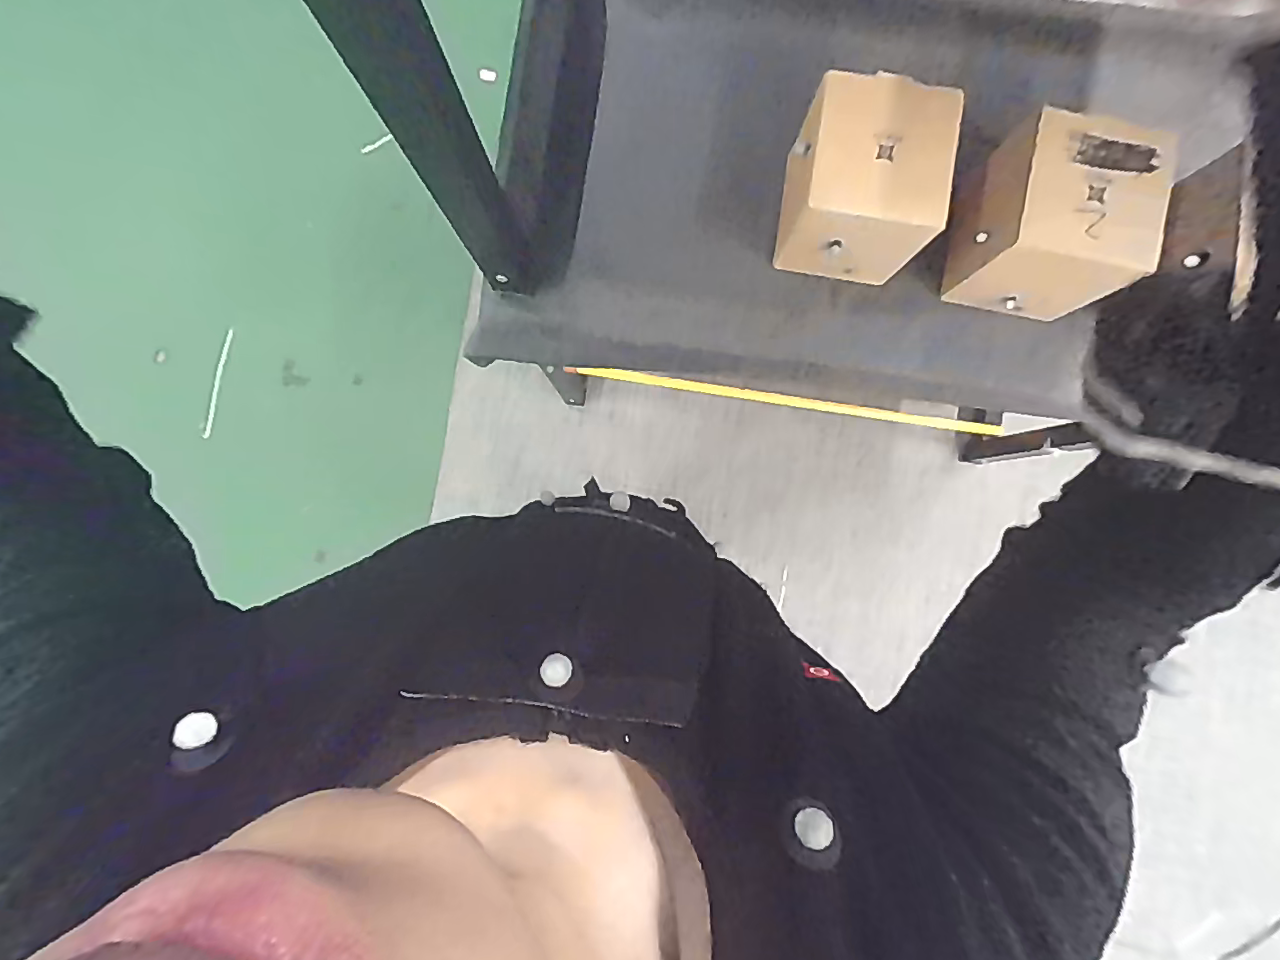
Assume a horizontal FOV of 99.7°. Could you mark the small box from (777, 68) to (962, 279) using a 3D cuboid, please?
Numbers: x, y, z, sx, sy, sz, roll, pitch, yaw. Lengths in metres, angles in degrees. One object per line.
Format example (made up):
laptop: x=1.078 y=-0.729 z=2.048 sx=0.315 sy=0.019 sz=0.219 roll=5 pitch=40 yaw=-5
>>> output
small box: x=0.290 y=-0.390 z=0.719 sx=0.168 sy=0.176 sz=0.179 roll=9 pitch=86 yaw=0

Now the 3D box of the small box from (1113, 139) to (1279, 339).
small box: x=0.775 y=-0.300 z=0.710 sx=0.168 sy=0.176 sz=0.179 roll=8 pitch=86 yaw=0
